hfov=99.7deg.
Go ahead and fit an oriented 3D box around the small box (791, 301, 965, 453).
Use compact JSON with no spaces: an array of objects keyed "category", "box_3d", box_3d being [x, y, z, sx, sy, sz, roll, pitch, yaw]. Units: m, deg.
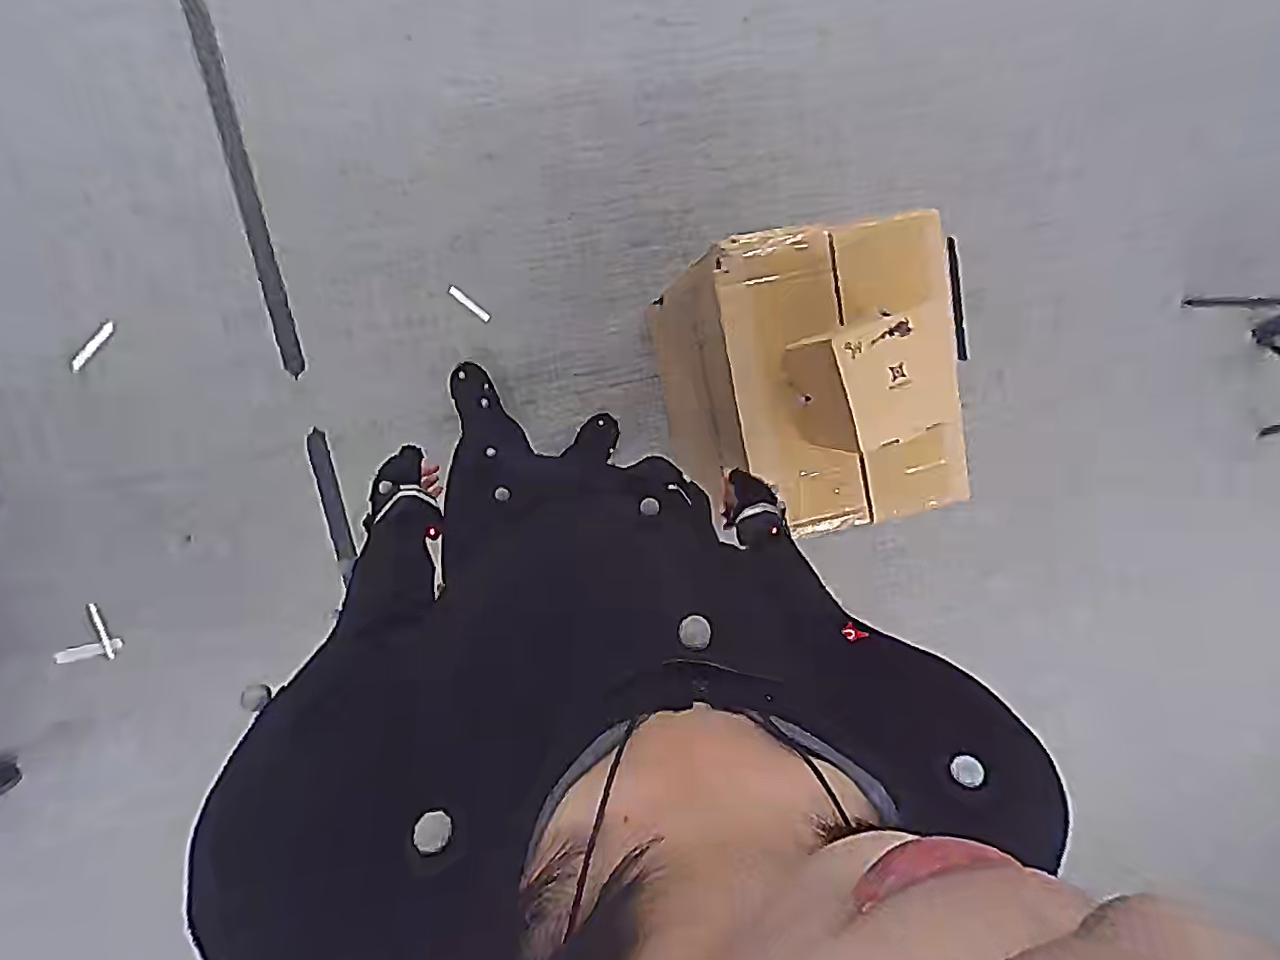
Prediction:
[{"category":"small box","box_3d":[0.359,-0.158,0.839,0.168,0.176,0.179,-20,101,-4]}]
